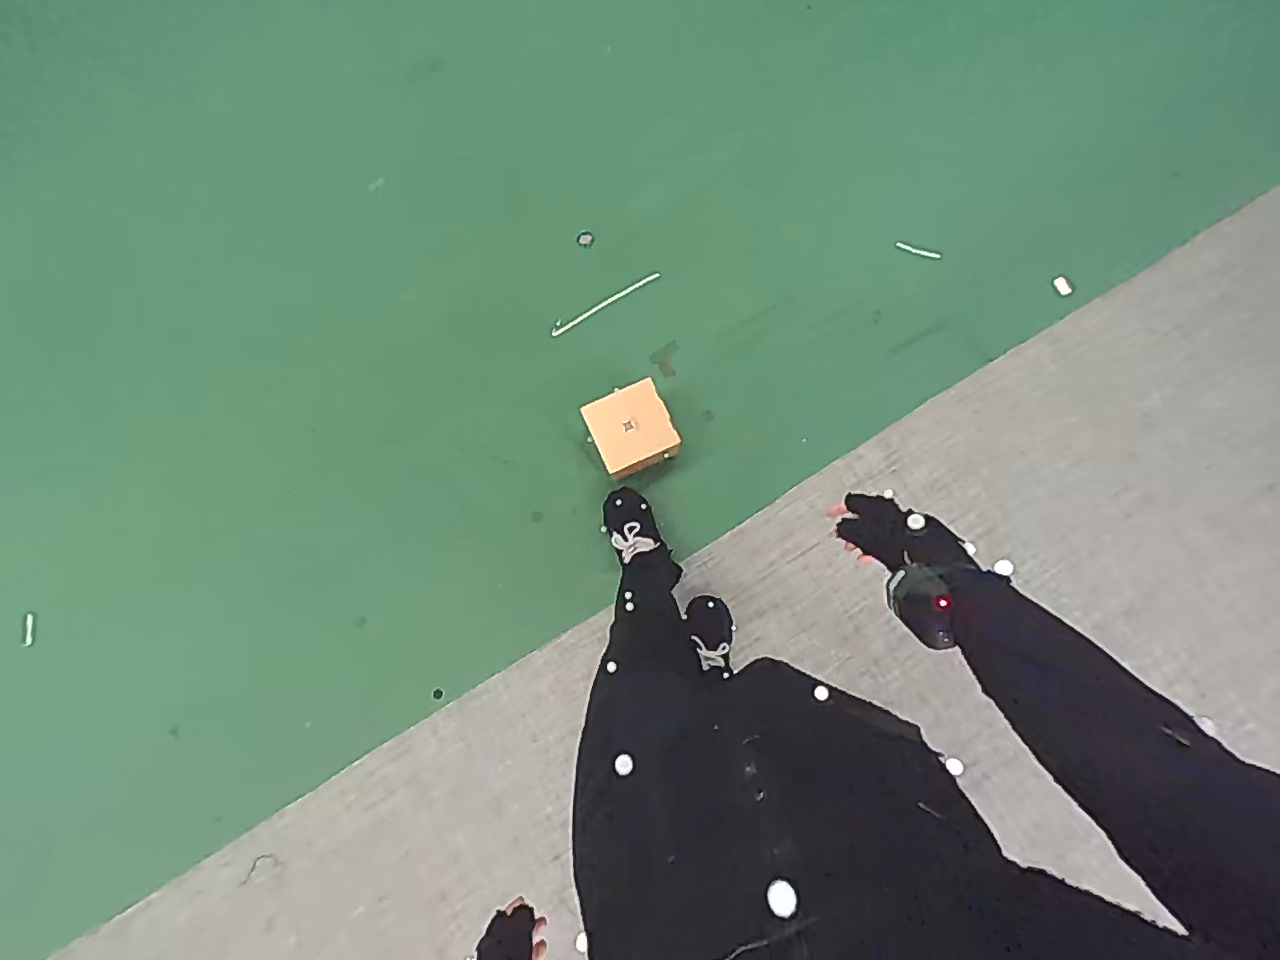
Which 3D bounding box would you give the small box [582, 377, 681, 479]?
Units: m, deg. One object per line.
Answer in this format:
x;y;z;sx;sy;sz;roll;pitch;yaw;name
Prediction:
-0.017;-0.114;1.273;0.179;0.176;0.168;-25;85;-2;small box
